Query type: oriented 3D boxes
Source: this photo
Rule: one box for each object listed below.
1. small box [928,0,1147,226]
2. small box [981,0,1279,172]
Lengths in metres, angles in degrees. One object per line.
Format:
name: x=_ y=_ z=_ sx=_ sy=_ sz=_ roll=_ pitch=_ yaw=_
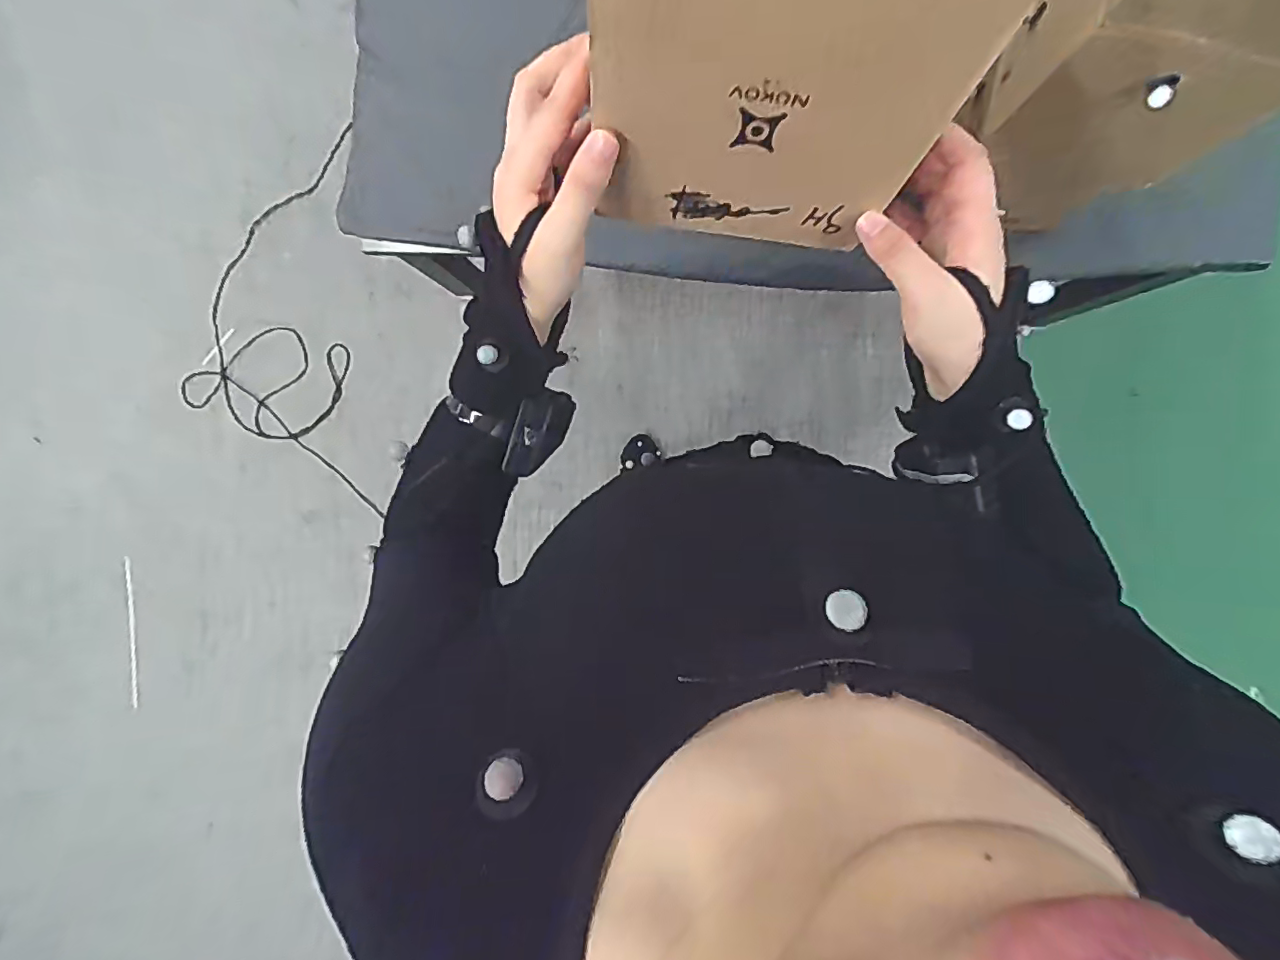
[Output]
small box: x=0.452 y=-0.416 z=0.617 sx=0.168 sy=0.176 sz=0.179 roll=3 pitch=94 yaw=5
small box: x=0.438 y=-0.393 z=0.457 sx=0.179 sy=0.176 sz=0.168 roll=14 pitch=94 yaw=5
